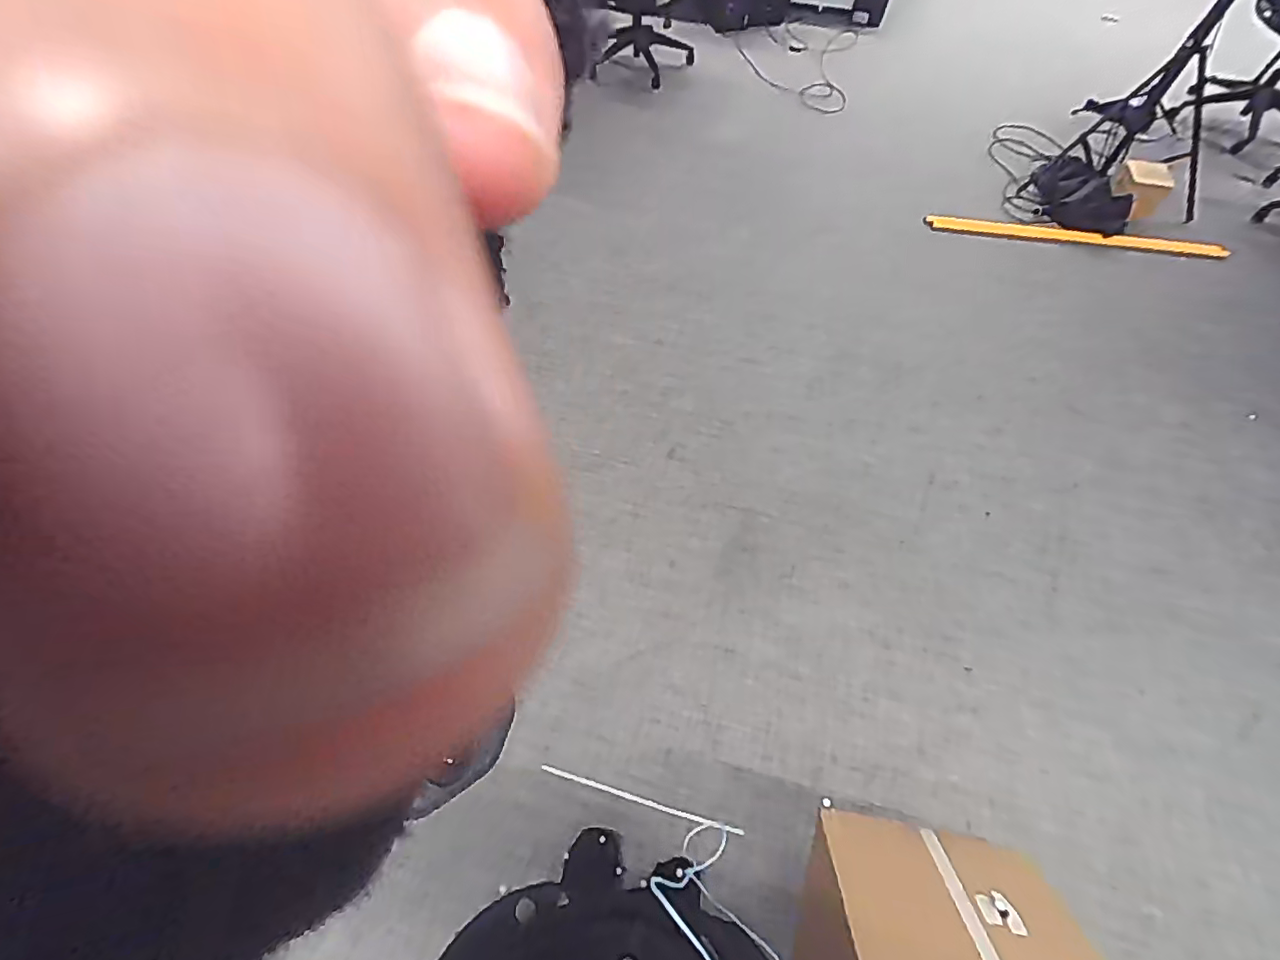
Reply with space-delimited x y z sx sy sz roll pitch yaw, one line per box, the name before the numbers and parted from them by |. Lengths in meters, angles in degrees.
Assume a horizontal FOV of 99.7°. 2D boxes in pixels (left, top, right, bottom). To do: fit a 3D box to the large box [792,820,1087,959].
large box | 0.384 0.728 0.665 0.320 0.408 0.320 9 98 7
